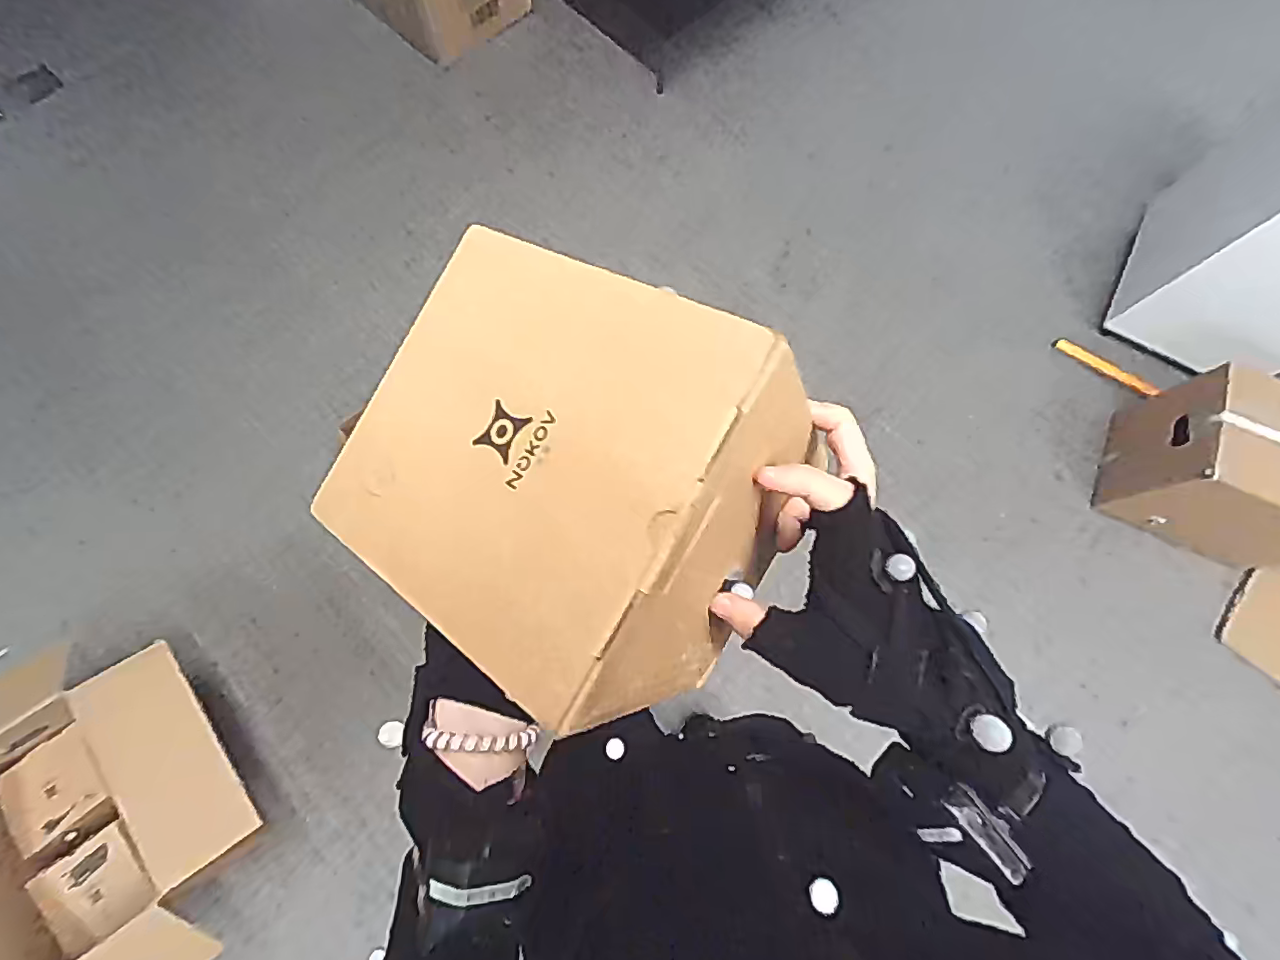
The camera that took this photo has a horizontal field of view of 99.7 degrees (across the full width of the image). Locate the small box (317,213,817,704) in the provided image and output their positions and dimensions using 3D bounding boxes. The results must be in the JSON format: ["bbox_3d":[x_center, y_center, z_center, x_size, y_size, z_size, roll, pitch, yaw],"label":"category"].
[{"bbox_3d":[-0.022,-0.006,0.301,0.179,0.176,0.168,30,89,25],"label":"small box"}]
